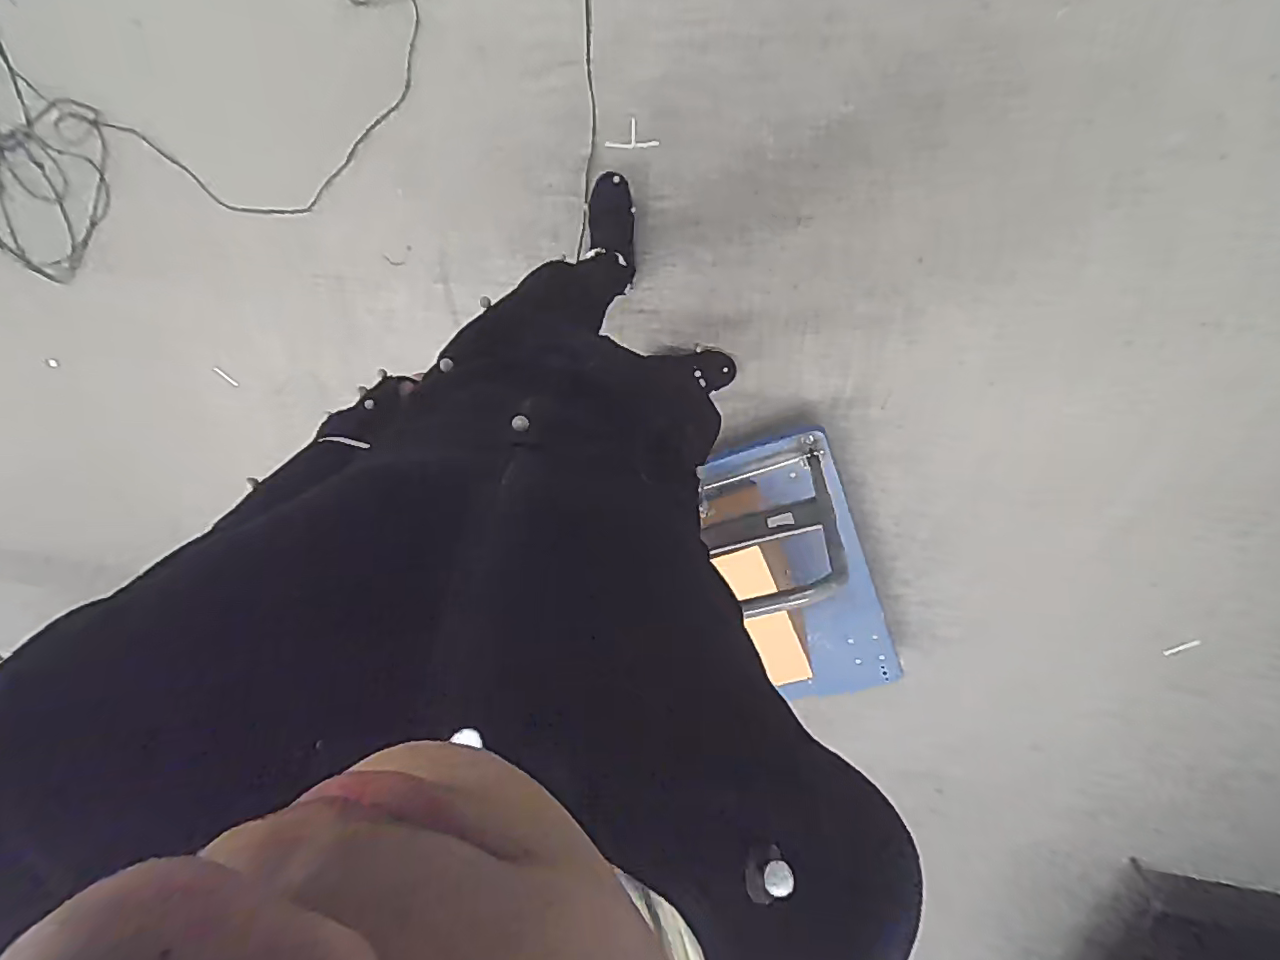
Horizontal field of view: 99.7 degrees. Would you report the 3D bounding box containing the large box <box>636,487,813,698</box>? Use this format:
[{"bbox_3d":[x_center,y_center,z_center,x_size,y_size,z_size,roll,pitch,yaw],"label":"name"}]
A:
[{"bbox_3d":[0.228,0.292,1.432,0.320,0.320,0.408,-19,111,19],"label":"large box"}]
